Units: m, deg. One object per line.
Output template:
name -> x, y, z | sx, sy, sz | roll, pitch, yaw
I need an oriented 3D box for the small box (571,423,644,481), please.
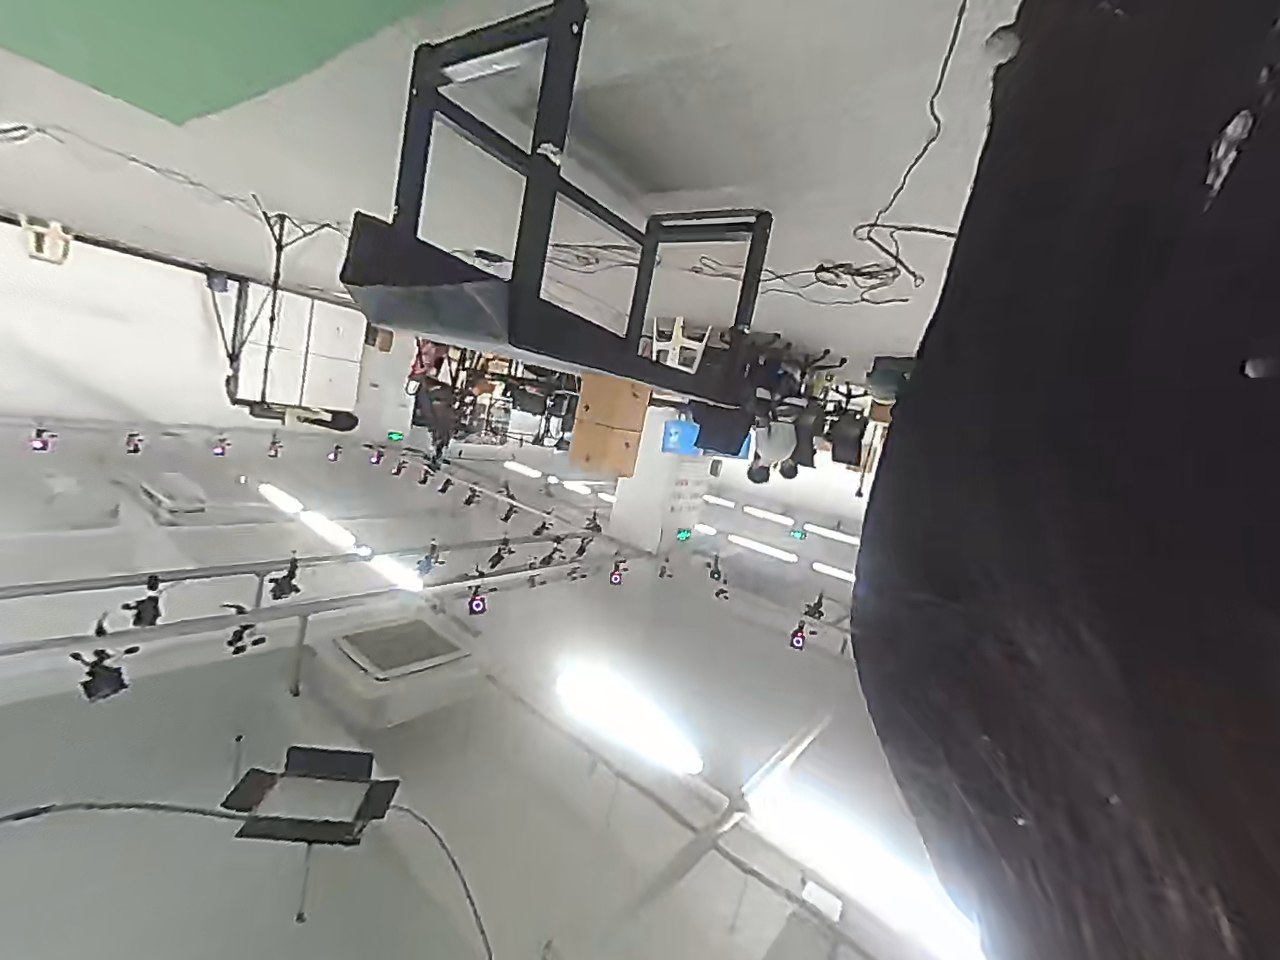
small box -> -0.108, -0.102, 1.861 | 0.179, 0.176, 0.168 | 17, -171, 36

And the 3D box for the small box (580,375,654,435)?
small box -> -0.075, -0.259, 1.841 | 0.179, 0.176, 0.168 | 17, -170, 36
